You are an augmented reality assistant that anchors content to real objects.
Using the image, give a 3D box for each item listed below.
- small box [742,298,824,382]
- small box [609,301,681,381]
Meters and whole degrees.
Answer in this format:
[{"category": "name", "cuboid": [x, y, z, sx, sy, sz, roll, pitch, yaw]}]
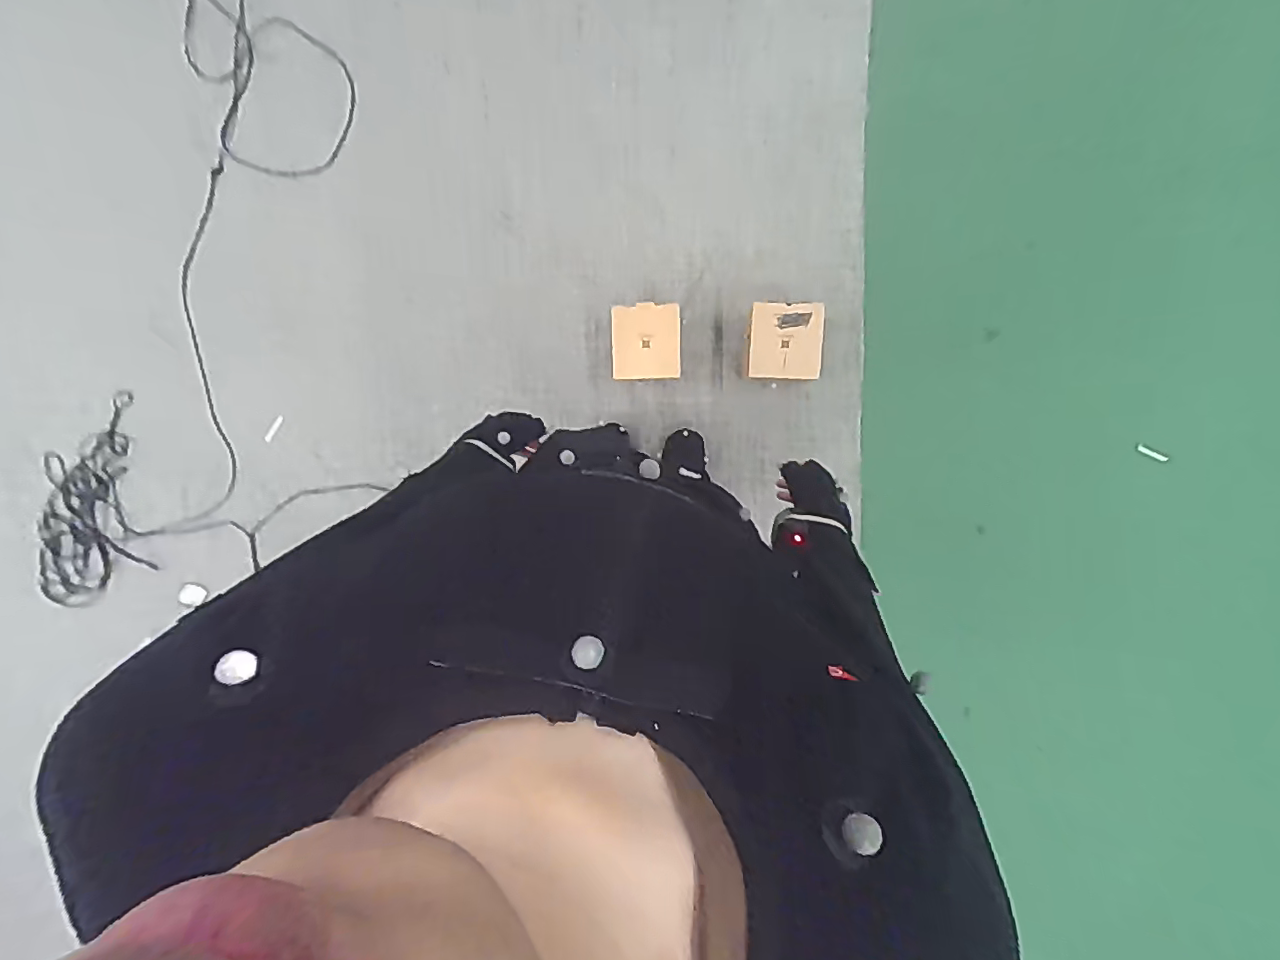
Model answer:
[{"category": "small box", "cuboid": [0.342, -0.337, 1.325, 0.168, 0.176, 0.179, 3, 97, 6]}, {"category": "small box", "cuboid": [0.018, -0.341, 1.360, 0.168, 0.176, 0.179, -1, 96, 6]}]
